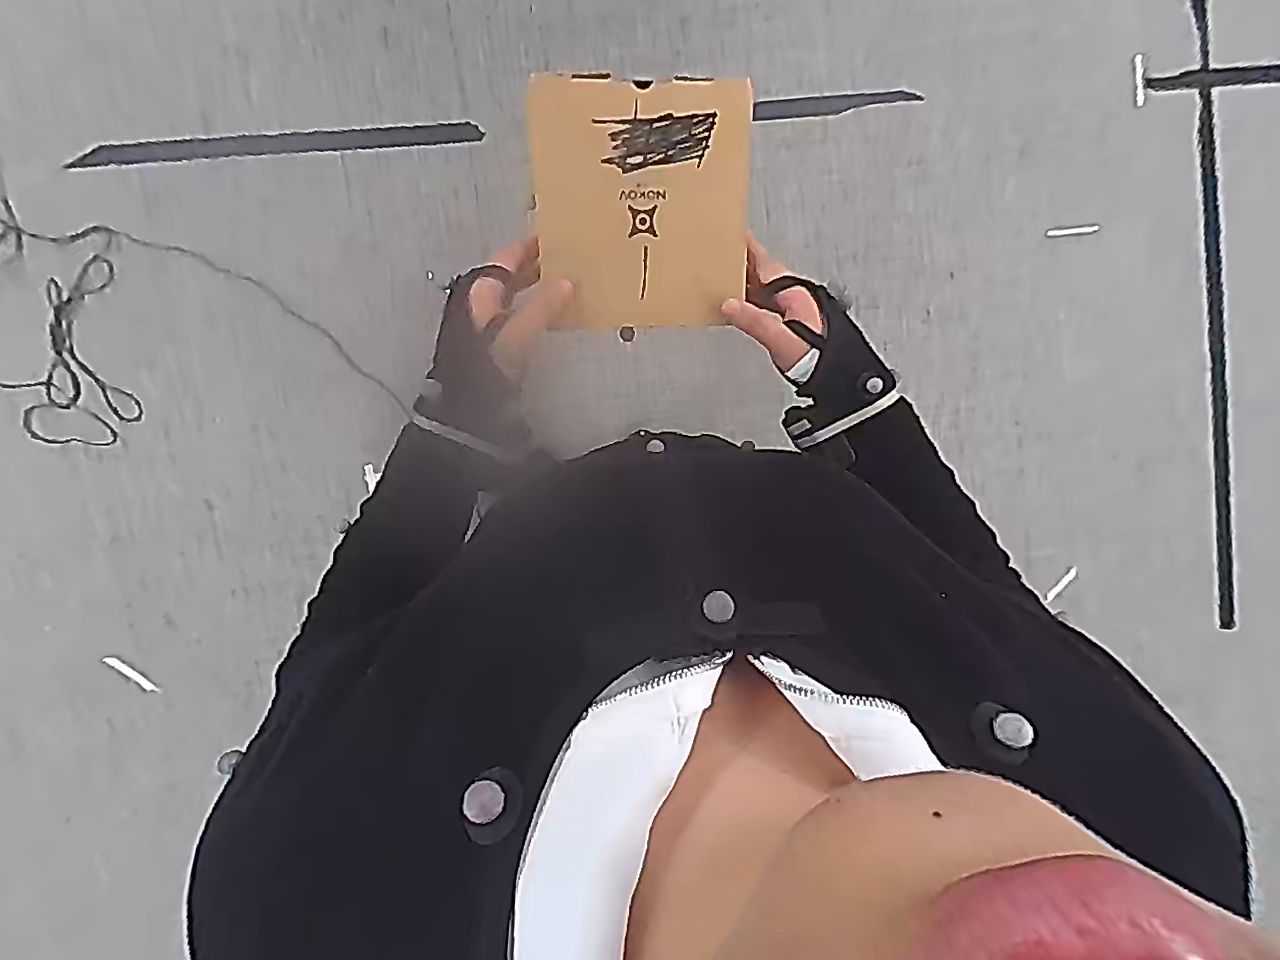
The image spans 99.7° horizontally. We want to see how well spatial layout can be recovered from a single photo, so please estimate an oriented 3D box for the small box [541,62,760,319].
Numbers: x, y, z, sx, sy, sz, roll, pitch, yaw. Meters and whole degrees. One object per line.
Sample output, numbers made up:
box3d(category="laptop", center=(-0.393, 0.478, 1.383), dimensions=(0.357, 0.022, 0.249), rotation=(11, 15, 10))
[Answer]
box3d(category="small box", center=(0.000, -0.240, 0.492), dimensions=(0.168, 0.176, 0.179), rotation=(-3, 108, -5))
